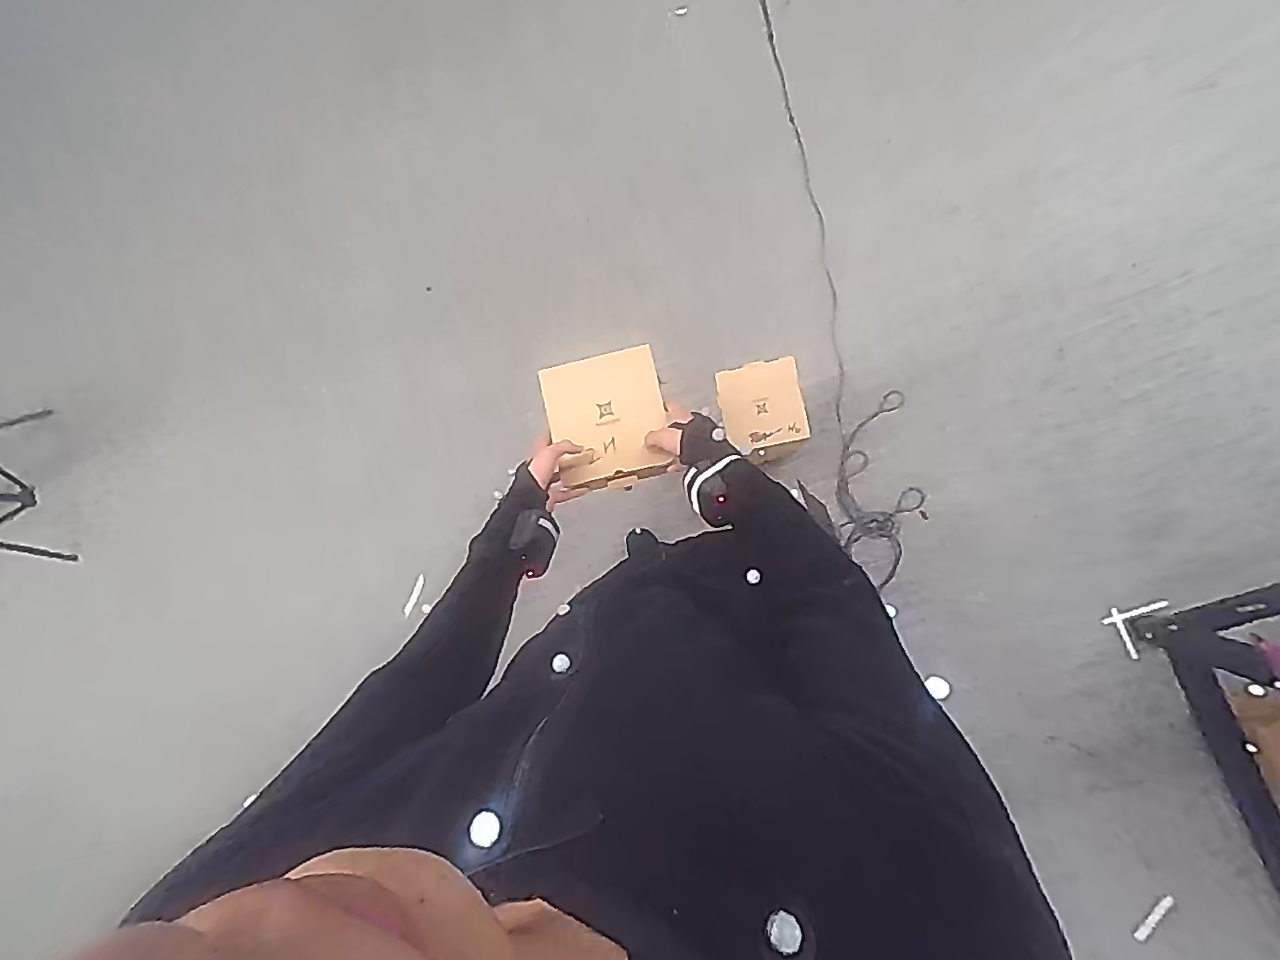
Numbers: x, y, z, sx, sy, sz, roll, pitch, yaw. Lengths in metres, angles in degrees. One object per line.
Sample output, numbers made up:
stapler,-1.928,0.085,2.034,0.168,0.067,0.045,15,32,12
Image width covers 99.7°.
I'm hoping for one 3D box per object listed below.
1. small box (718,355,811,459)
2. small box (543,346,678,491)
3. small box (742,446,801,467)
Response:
small box,0.269,-0.153,1.187,0.168,0.176,0.179,-11,85,12
small box,-0.039,-0.085,0.841,0.168,0.176,0.179,-13,86,3
small box,0.339,-0.144,1.506,0.168,0.176,0.179,-20,84,11
